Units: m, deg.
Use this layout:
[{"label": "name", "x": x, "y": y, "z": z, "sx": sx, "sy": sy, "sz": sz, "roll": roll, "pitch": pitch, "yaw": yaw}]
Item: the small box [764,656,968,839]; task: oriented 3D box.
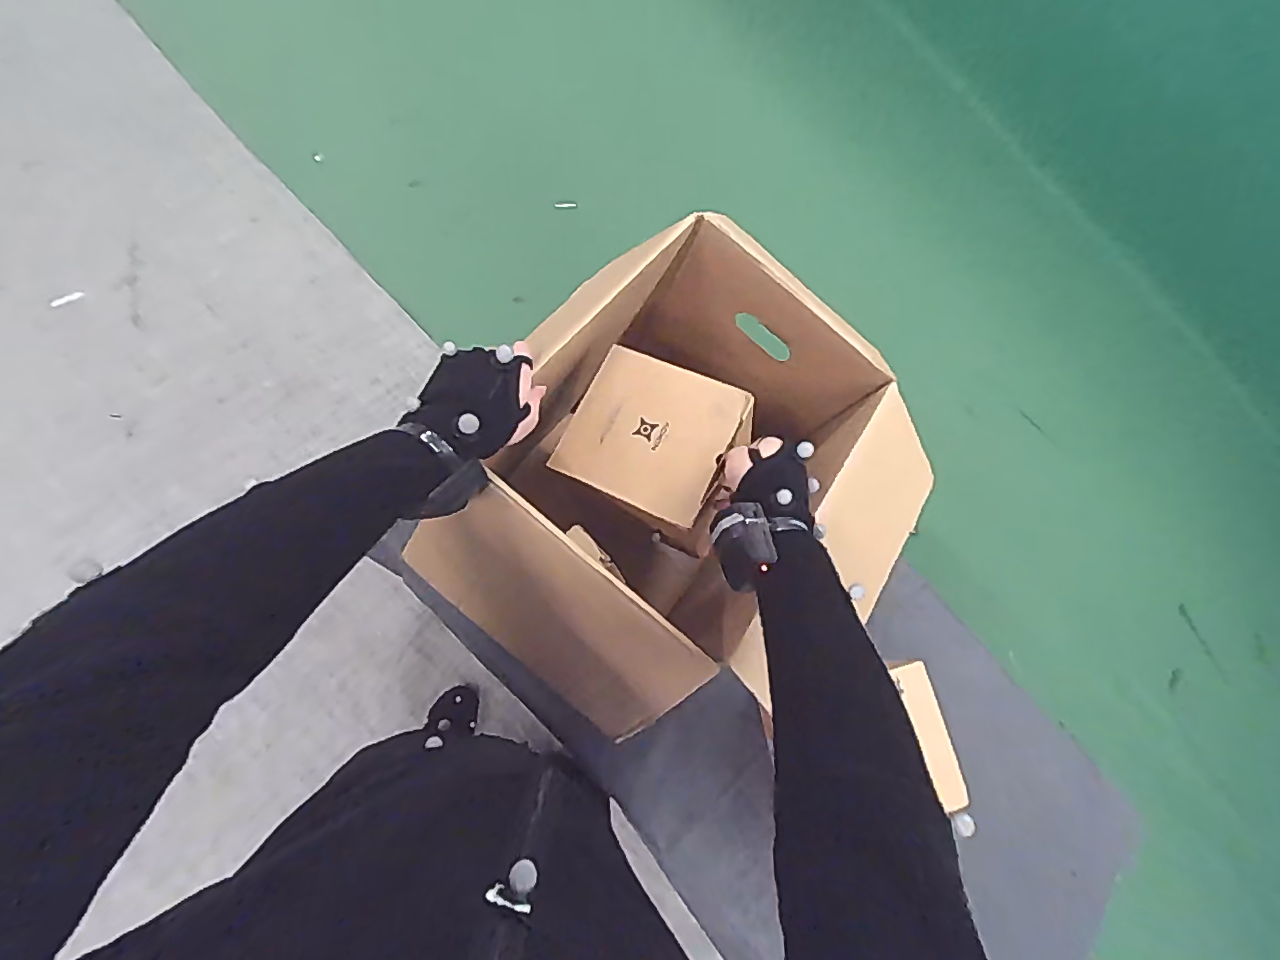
[{"label": "small box", "x": 0.293, "y": 0.344, "z": 0.735, "sx": 0.168, "sy": 0.176, "sz": 0.179, "roll": -6, "pitch": 75, "yaw": -17}]
